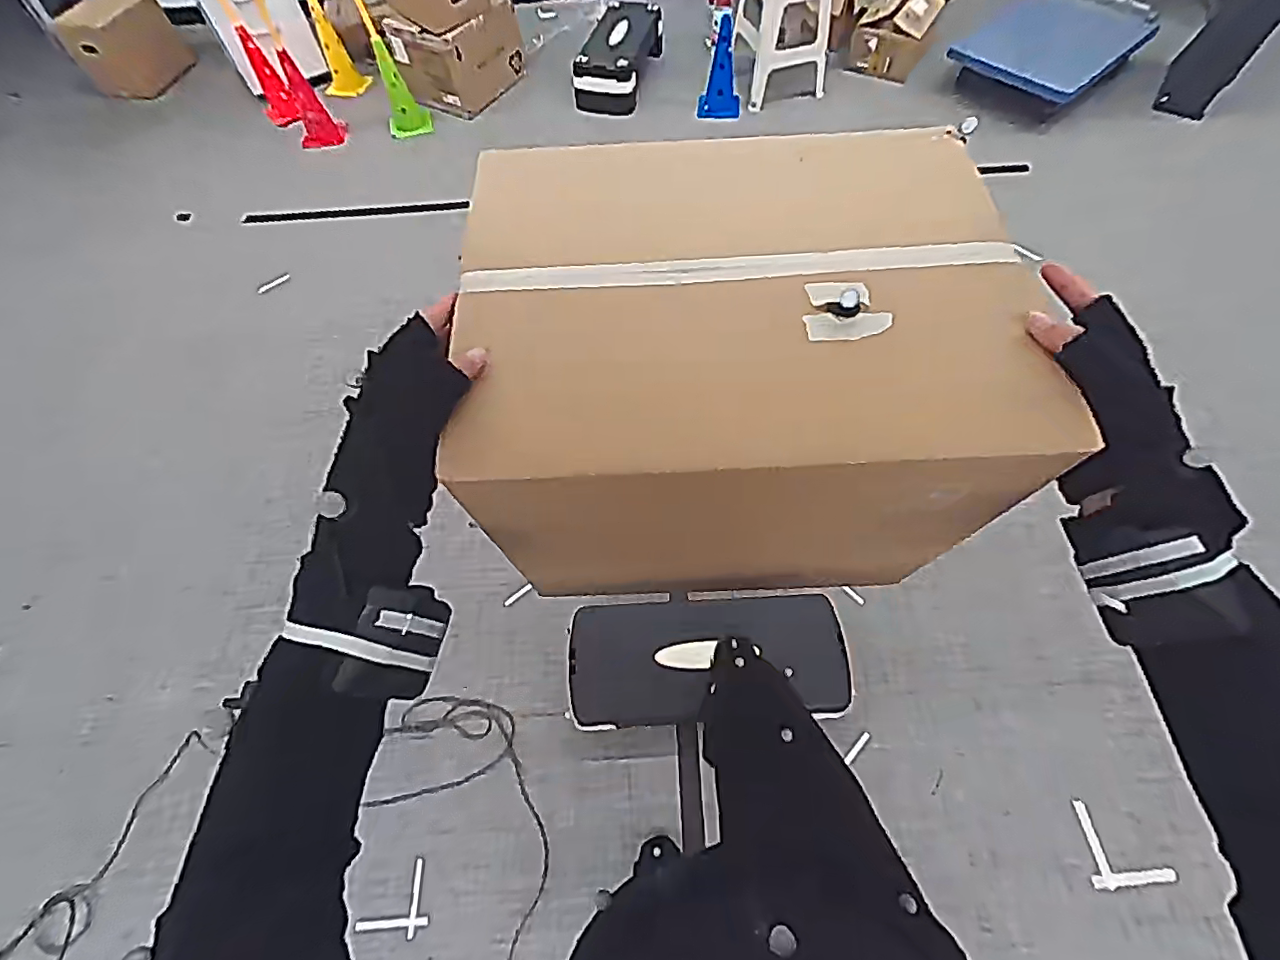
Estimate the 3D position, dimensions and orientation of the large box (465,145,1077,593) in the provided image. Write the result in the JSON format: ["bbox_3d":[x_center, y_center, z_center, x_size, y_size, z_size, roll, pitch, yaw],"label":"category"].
[{"bbox_3d":[0.078,-0.083,0.542,0.408,0.320,0.320,-2,65,0],"label":"large box"}]
